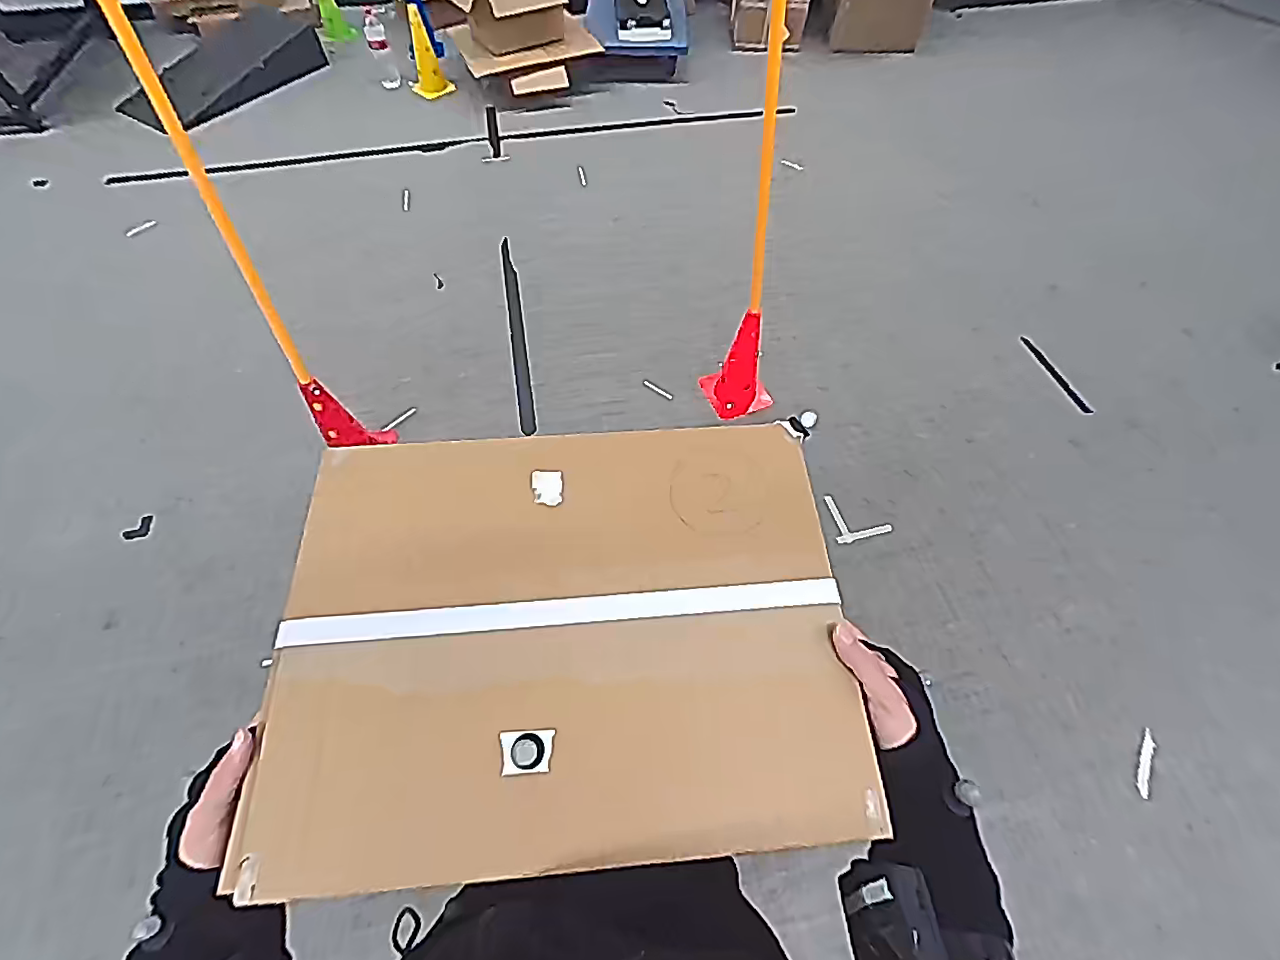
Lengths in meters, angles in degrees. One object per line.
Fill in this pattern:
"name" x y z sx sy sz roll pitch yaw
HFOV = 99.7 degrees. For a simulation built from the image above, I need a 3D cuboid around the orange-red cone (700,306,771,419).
"orange-red cone" 0.323 -0.387 1.675 0.199 0.360 0.198 -17 60 -13
